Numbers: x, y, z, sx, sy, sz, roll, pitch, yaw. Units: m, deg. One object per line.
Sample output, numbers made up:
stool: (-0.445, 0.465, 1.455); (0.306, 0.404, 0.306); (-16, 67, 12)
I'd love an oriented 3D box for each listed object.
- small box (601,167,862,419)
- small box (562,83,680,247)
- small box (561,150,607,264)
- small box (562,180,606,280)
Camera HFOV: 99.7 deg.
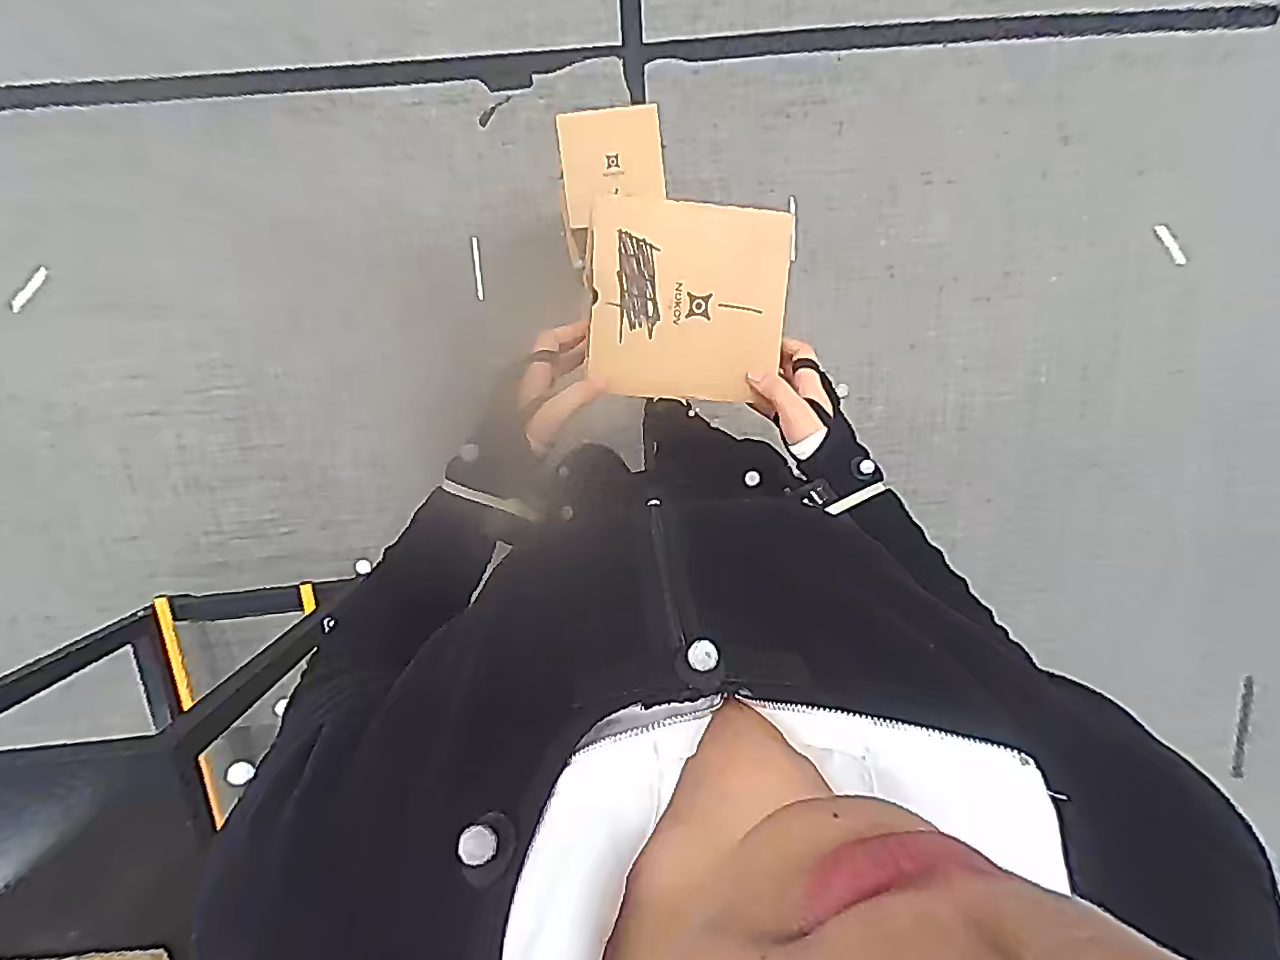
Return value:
small box: (0.058, -0.143, 0.463); (0.179, 0.176, 0.168); (1, 101, -8)
small box: (-0.028, -0.493, 0.870); (0.168, 0.176, 0.179); (-7, 102, 0)
small box: (-0.044, -0.522, 1.033); (0.168, 0.176, 0.179); (-12, 102, 0)
small box: (-0.071, -0.555, 1.192); (0.168, 0.176, 0.179); (-11, 103, 0)
